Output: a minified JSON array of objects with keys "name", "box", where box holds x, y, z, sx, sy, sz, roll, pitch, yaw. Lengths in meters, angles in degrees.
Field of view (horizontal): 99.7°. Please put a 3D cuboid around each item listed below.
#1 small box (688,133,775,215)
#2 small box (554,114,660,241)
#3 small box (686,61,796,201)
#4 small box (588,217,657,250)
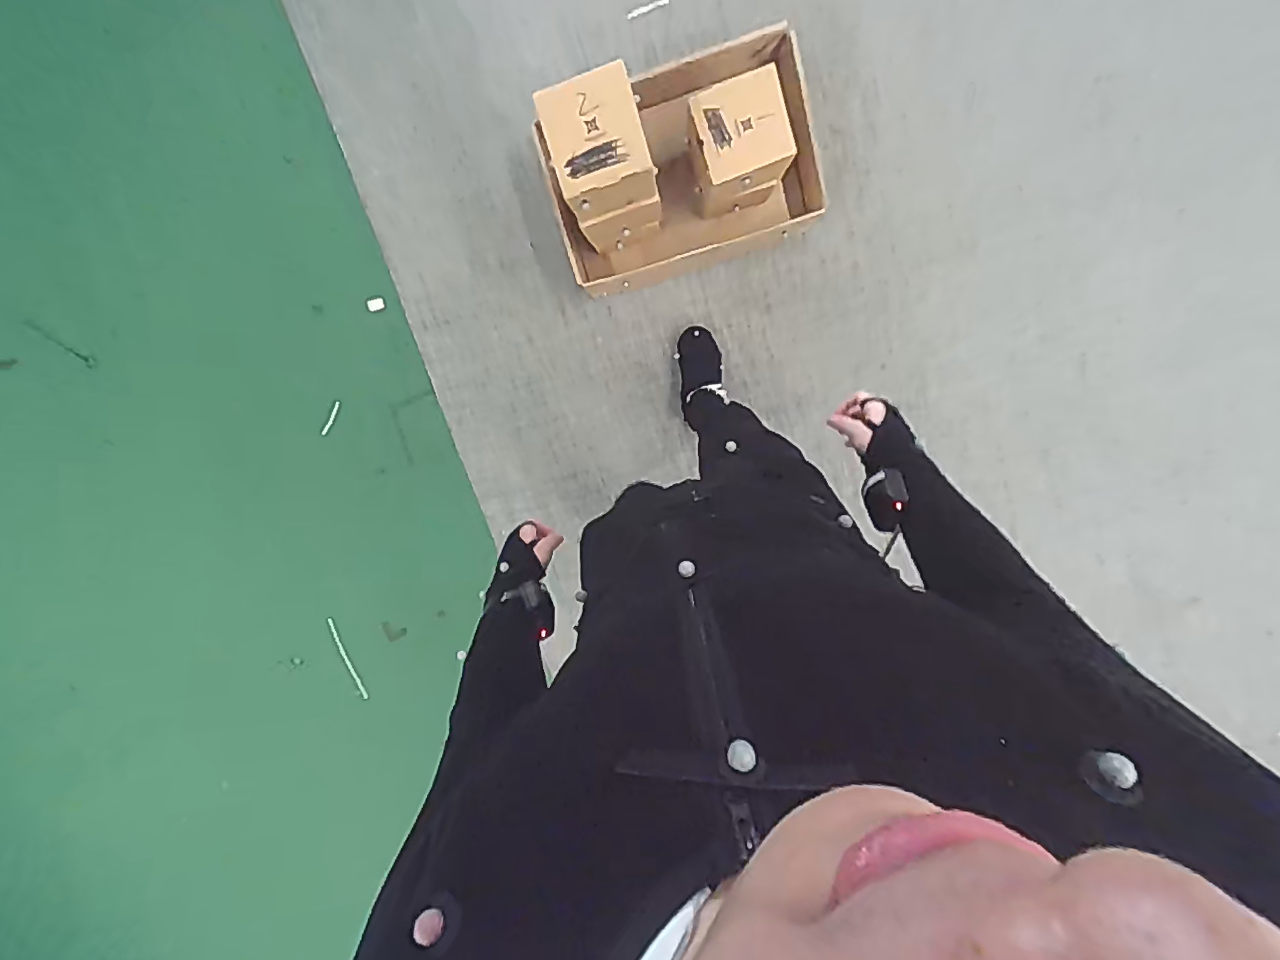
[{"name":"small box","box":[0.212,-0.745,1.278,0.168,0.176,0.179,-13,102,8]},{"name":"small box","box":[-0.063,-0.632,1.152,0.179,0.176,0.168,-16,101,6]},{"name":"small box","box":[0.201,-0.705,1.117,0.179,0.176,0.168,-18,103,7]},{"name":"small box","box":[-0.058,-0.672,1.311,0.168,0.176,0.179,-15,101,6]}]
